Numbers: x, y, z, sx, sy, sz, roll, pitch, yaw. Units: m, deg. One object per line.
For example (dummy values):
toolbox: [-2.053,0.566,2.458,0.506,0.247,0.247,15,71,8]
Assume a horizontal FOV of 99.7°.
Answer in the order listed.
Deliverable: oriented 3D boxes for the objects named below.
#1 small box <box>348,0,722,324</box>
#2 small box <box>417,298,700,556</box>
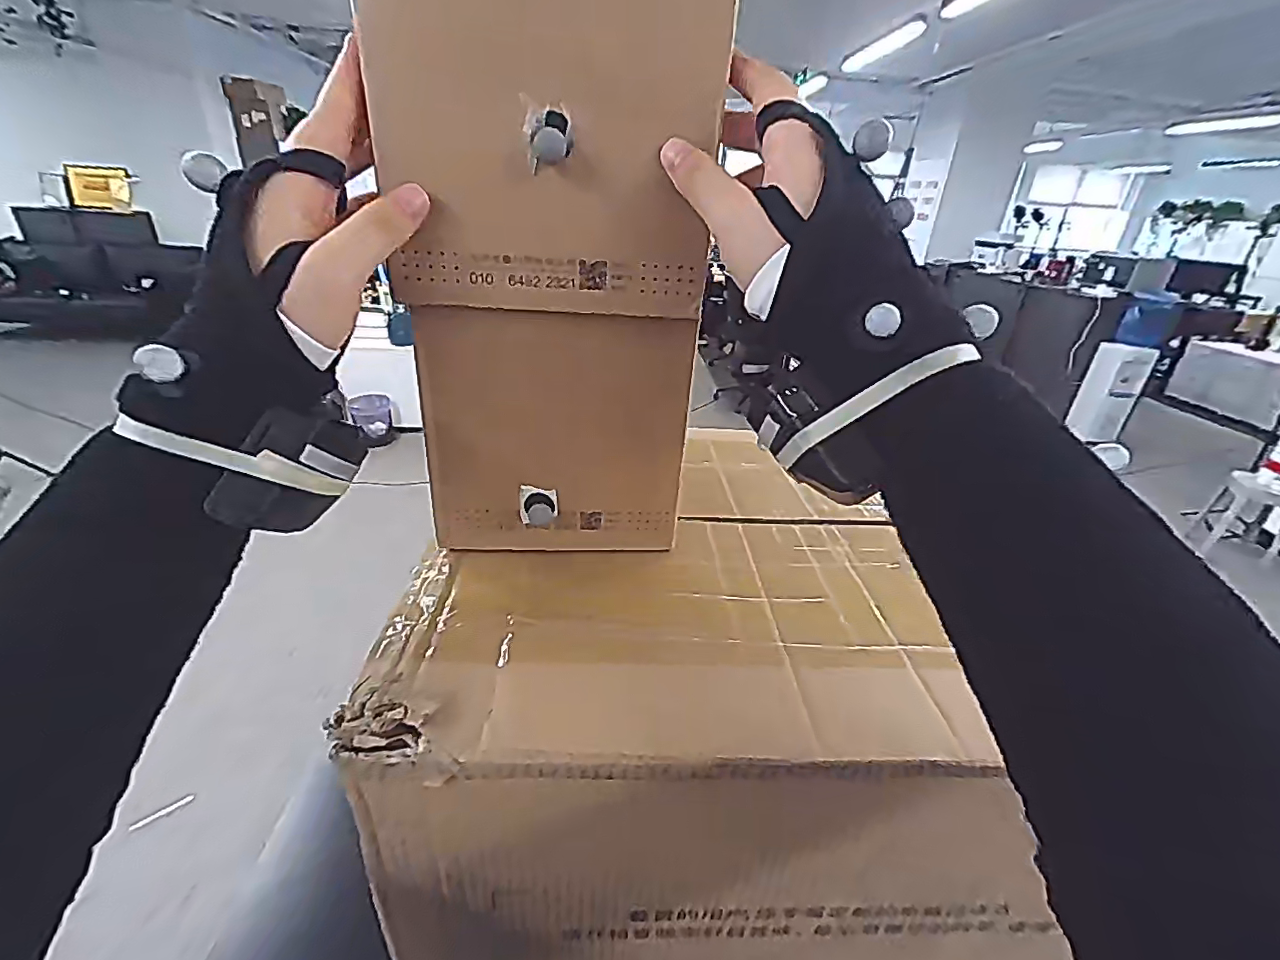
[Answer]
small box: [-0.051,-0.197,0.331,0.168,0.176,0.179,0,27,-6]
small box: [-0.059,-0.058,0.419,0.168,0.176,0.179,-1,28,-8]
